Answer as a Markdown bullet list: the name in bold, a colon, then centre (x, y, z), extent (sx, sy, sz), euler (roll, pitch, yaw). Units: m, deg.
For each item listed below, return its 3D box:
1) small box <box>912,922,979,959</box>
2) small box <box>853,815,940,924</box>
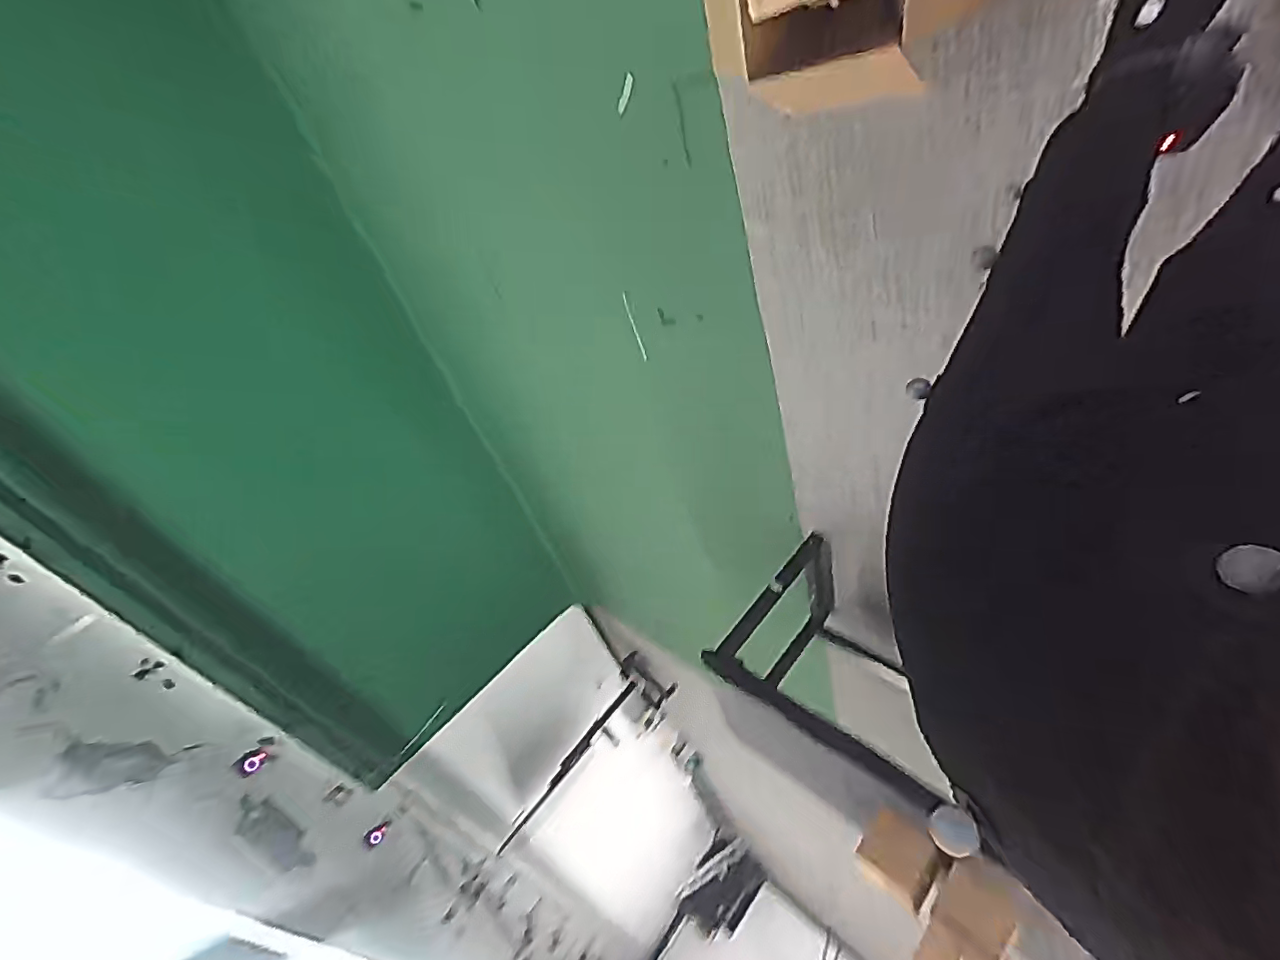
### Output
- **small box**: centre (0.784, 1.285, 1.377), extent (0.168, 0.176, 0.179), euler (26, 146, 40)
- **small box**: centre (0.762, 1.144, 1.601), extent (0.168, 0.176, 0.179), euler (16, 140, 50)
